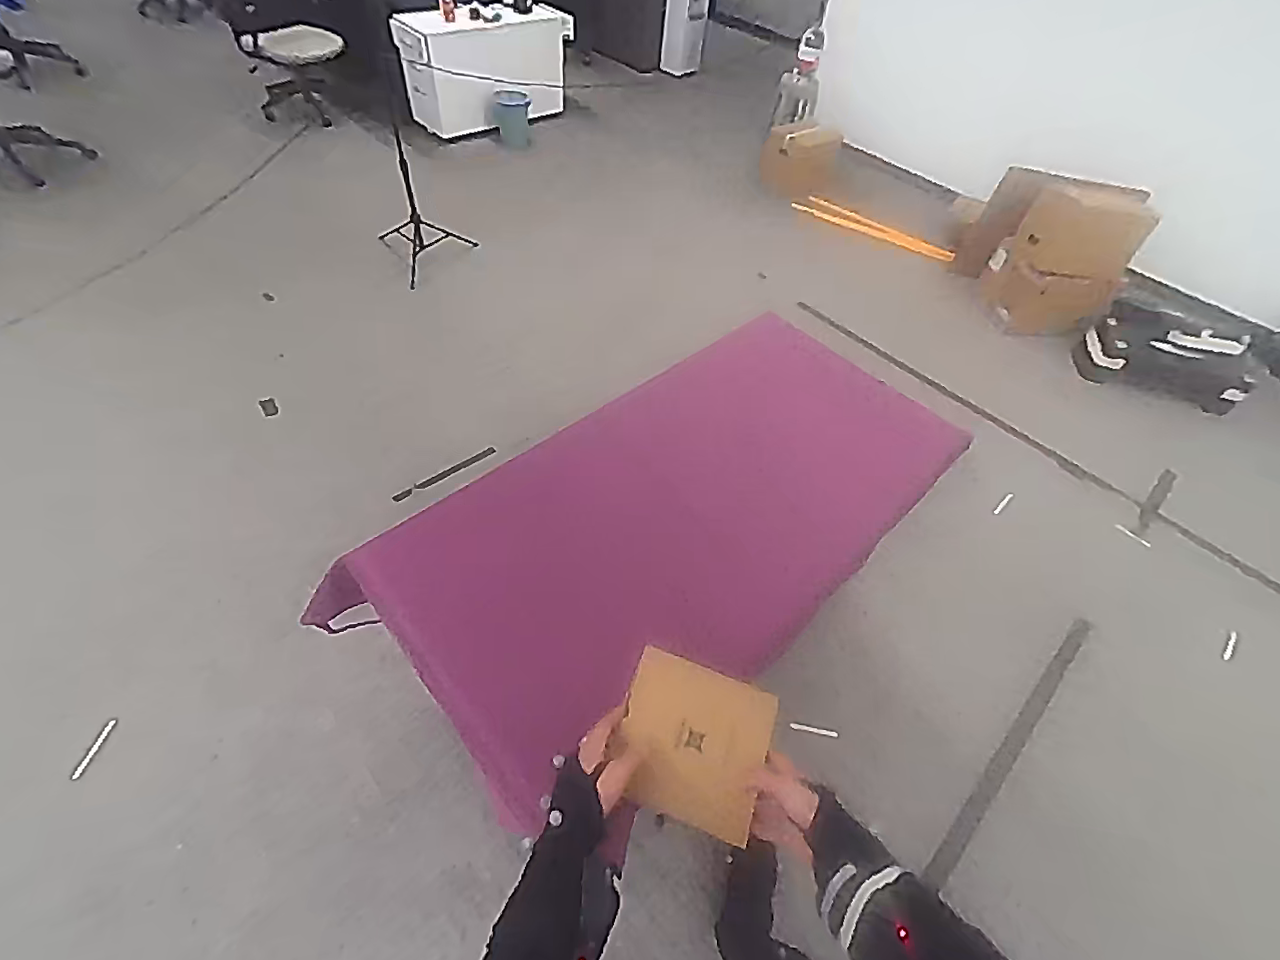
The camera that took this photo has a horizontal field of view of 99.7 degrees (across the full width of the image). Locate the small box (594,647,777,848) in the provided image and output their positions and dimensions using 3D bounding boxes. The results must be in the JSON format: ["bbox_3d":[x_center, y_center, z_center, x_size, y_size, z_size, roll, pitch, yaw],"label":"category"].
[{"bbox_3d":[0.052,0.338,0.691,0.179,0.176,0.168,20,62,7],"label":"small box"}]
